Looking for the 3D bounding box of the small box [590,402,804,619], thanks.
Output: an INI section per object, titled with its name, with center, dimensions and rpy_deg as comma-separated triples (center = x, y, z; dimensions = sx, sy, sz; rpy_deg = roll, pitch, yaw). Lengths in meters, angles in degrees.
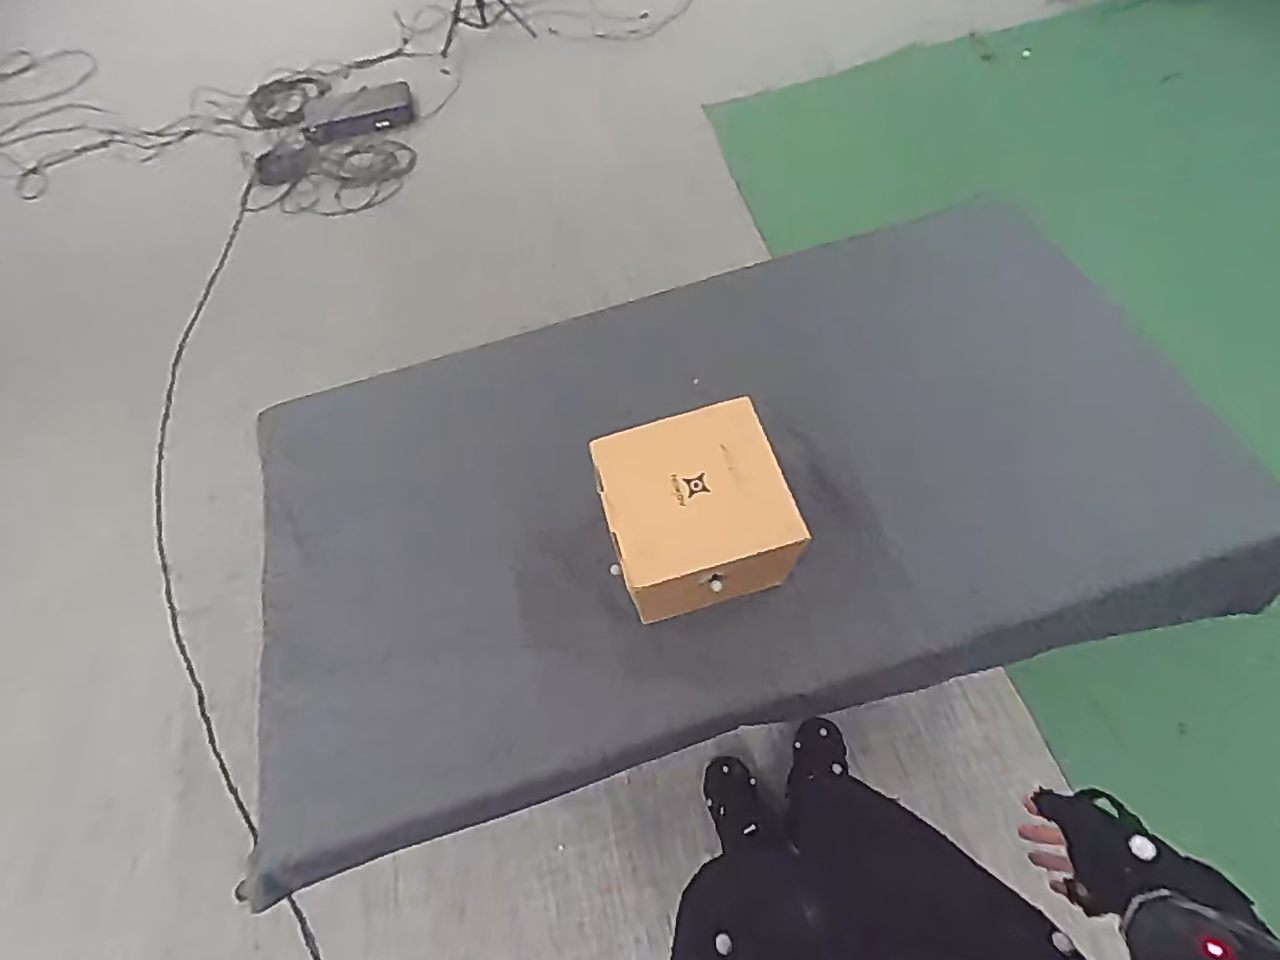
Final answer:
[small box]
center = 0.057, 0.044, 0.604
dimensions = 0.179, 0.176, 0.168
rpy_deg = -16, 66, -3
